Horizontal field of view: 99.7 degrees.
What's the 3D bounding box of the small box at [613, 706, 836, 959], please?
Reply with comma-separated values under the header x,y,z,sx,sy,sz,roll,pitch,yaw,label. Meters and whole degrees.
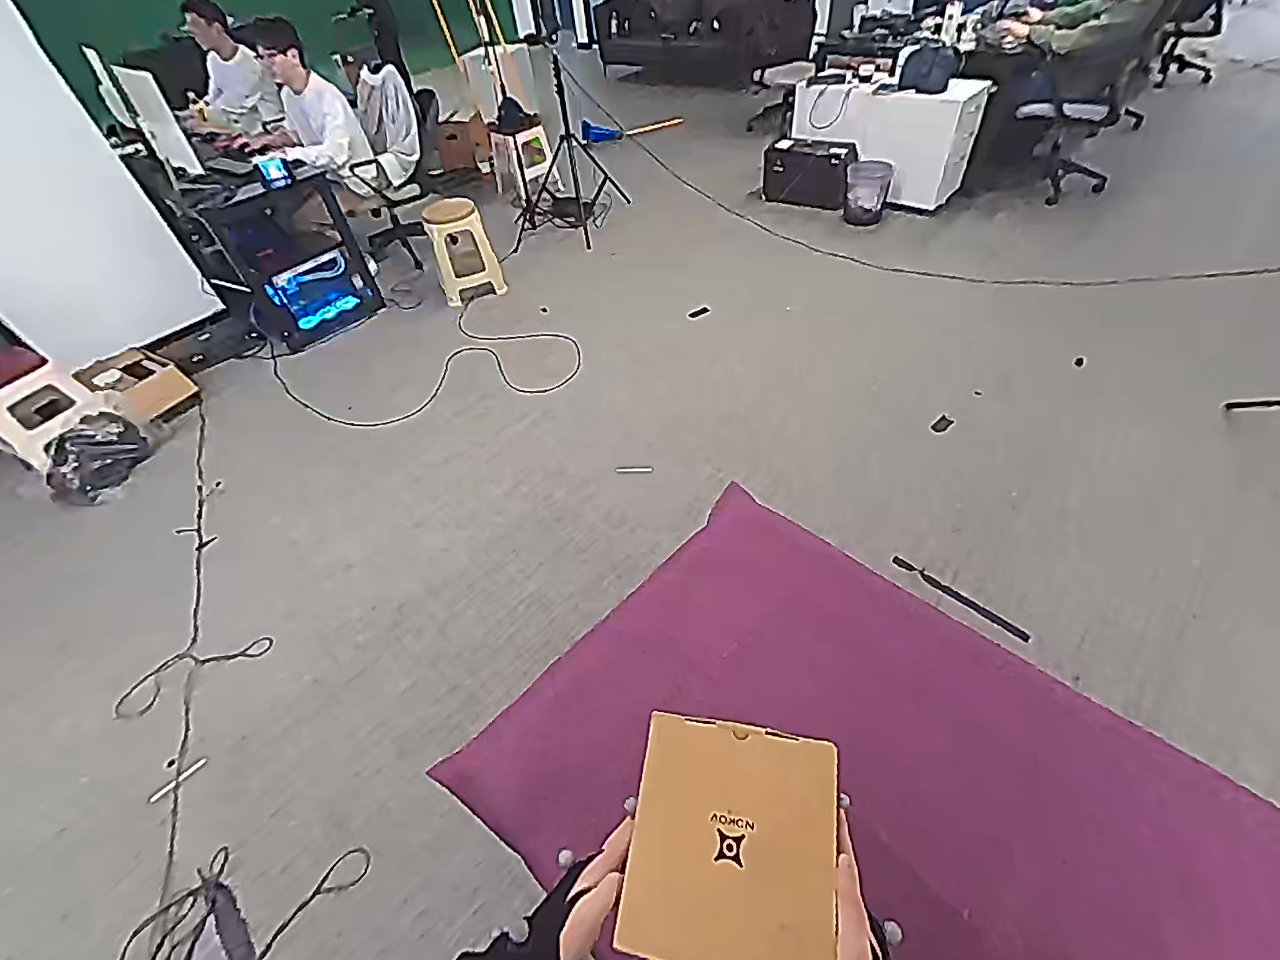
x,y,z,sx,sy,sz,roll,pitch,yaw,label
0.087,0.333,0.505,0.168,0.176,0.179,4,56,14,small box
